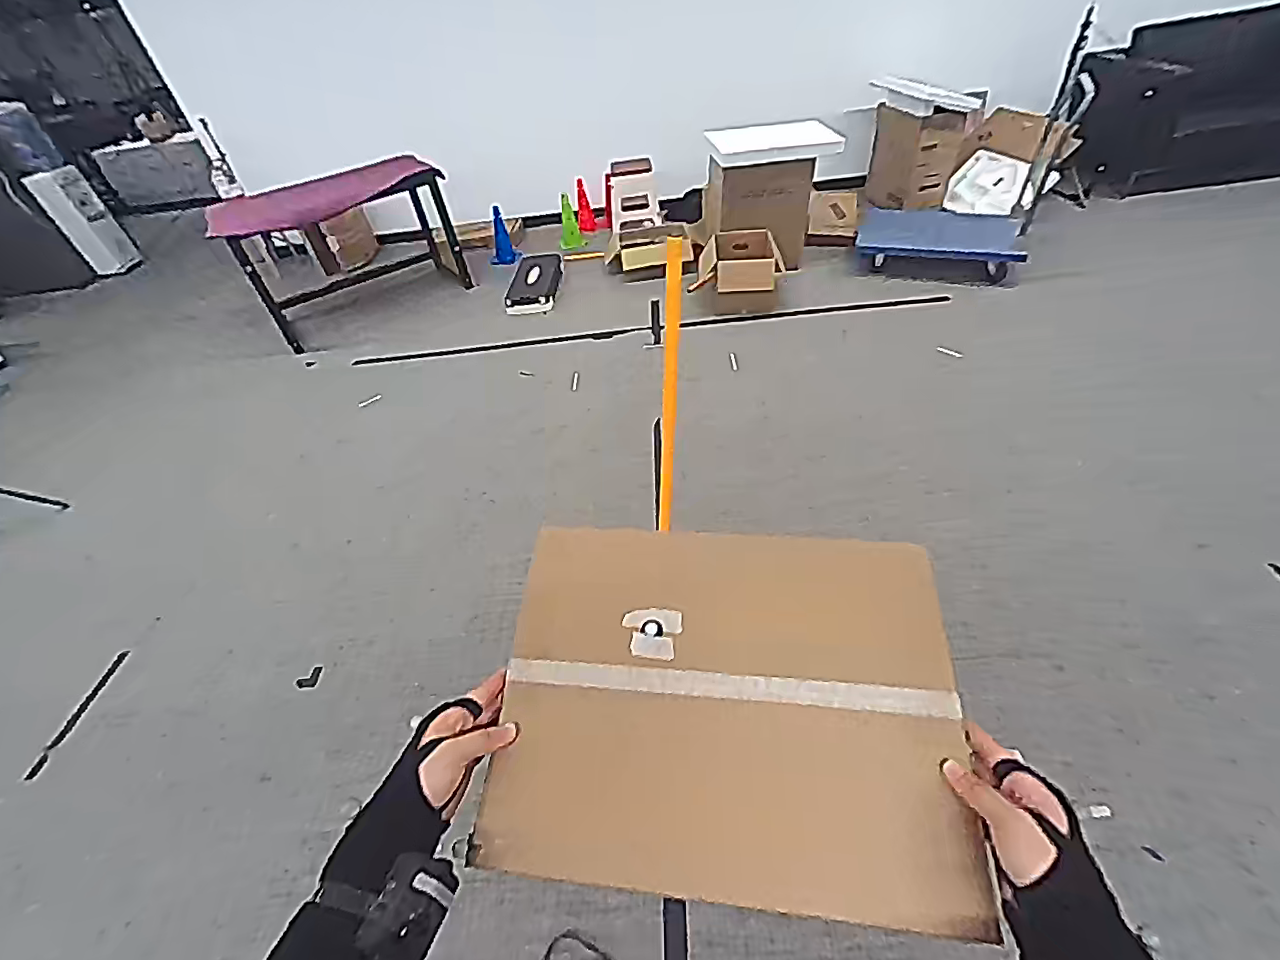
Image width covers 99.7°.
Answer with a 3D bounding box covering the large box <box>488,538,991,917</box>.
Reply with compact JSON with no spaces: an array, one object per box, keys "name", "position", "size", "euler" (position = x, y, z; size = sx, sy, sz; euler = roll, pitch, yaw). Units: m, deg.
[{"name":"large box","position":[0.097,0.273,0.630],"size":[0.408,0.320,0.320],"euler":[0,57,9]}]
